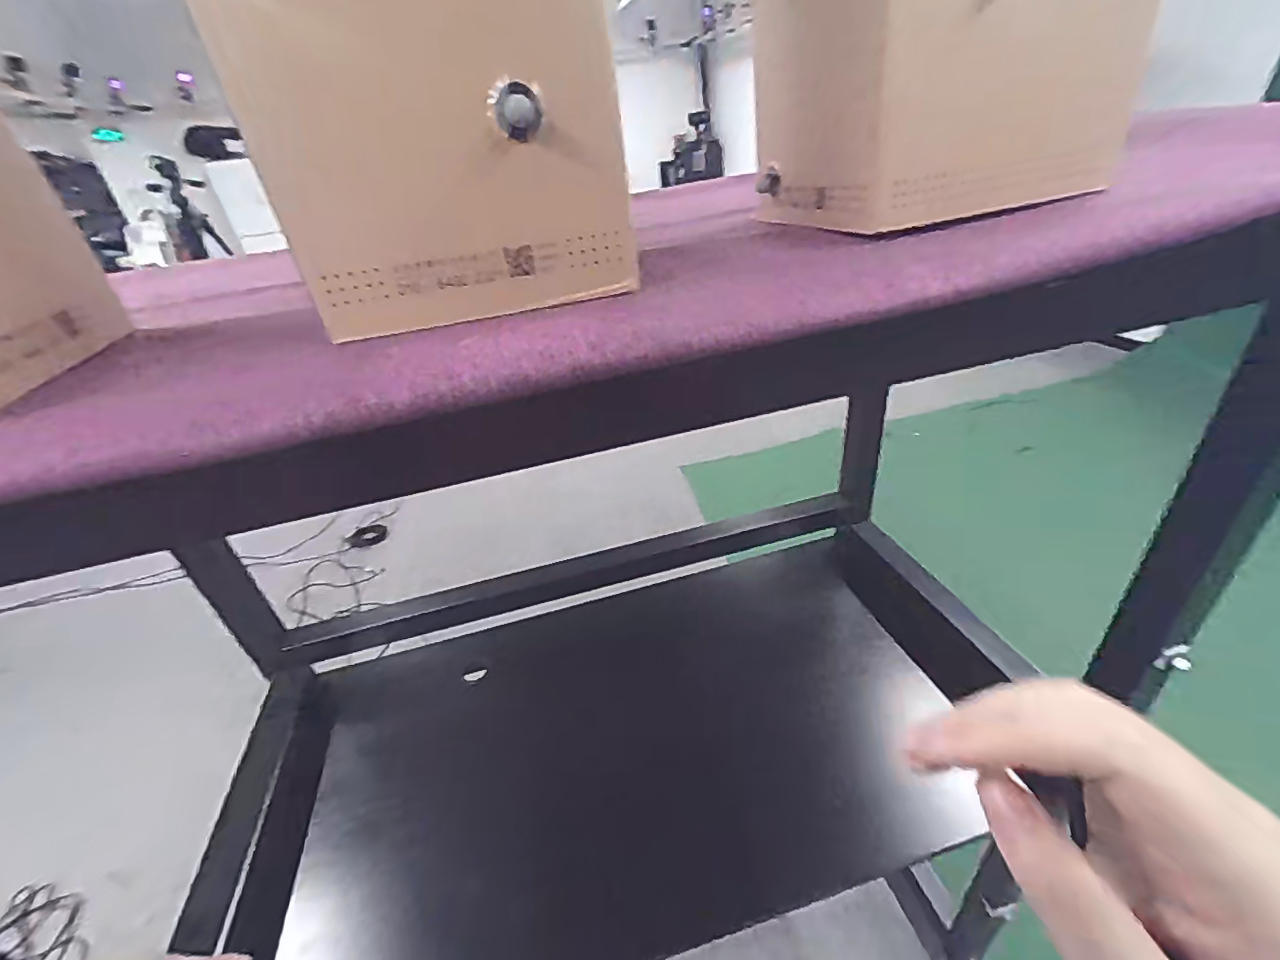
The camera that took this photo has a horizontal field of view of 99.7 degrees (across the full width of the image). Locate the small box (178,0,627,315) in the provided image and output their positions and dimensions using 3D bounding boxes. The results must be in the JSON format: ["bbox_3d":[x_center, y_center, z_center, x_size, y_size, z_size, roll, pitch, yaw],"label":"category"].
[{"bbox_3d":[-0.109,-0.201,0.309,0.168,0.176,0.179,-12,32,-8],"label":"small box"}]

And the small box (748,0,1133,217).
[{"bbox_3d":[0.188,-0.282,0.363,0.179,0.176,0.168,-14,31,-9],"label":"small box"}]
